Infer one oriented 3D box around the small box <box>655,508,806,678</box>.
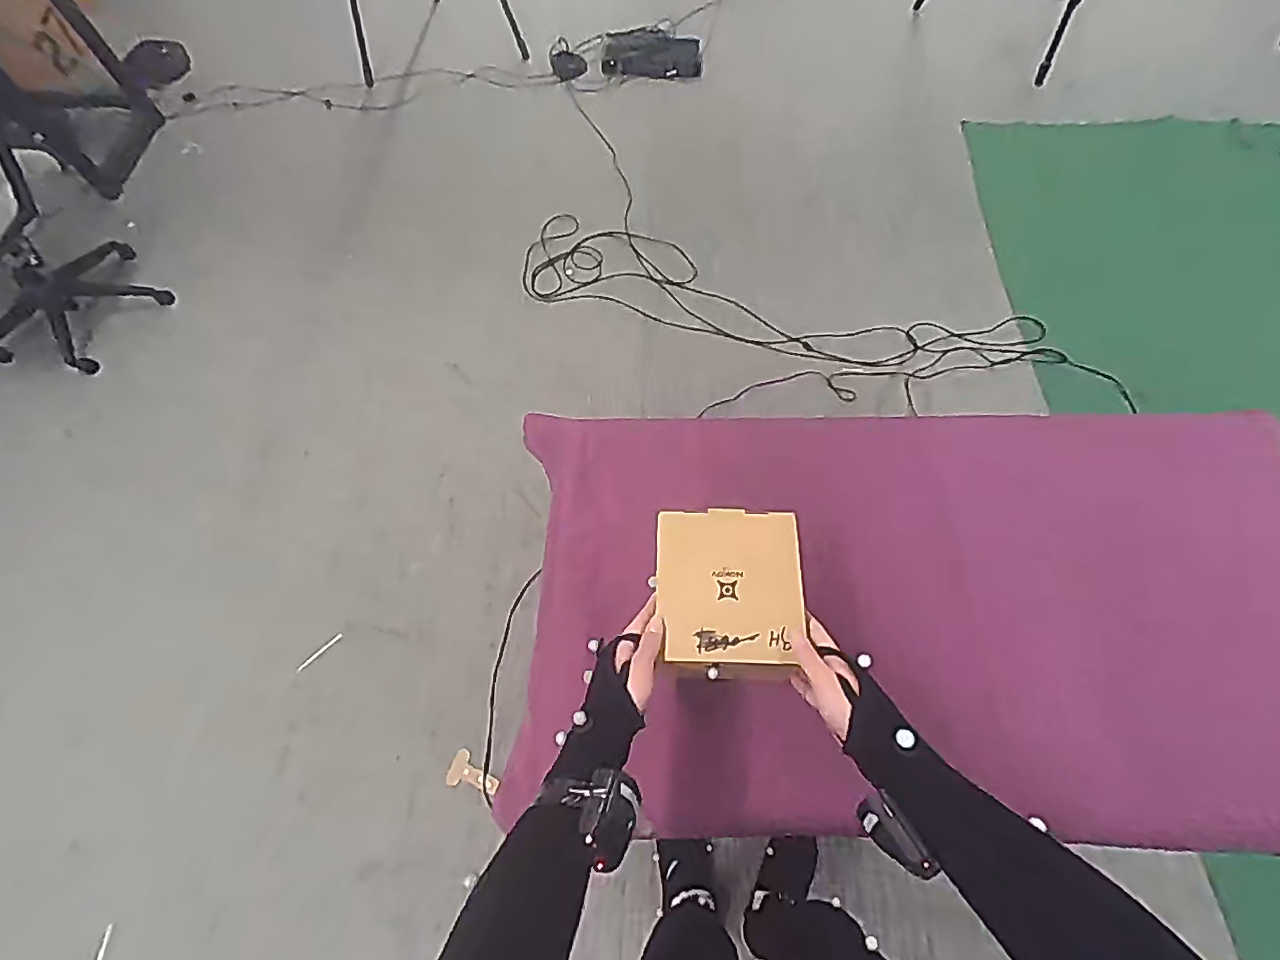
[{"bbox_3d":[0.105,0.148,0.688,0.168,0.176,0.179,1,65,5],"label":"small box"}]
